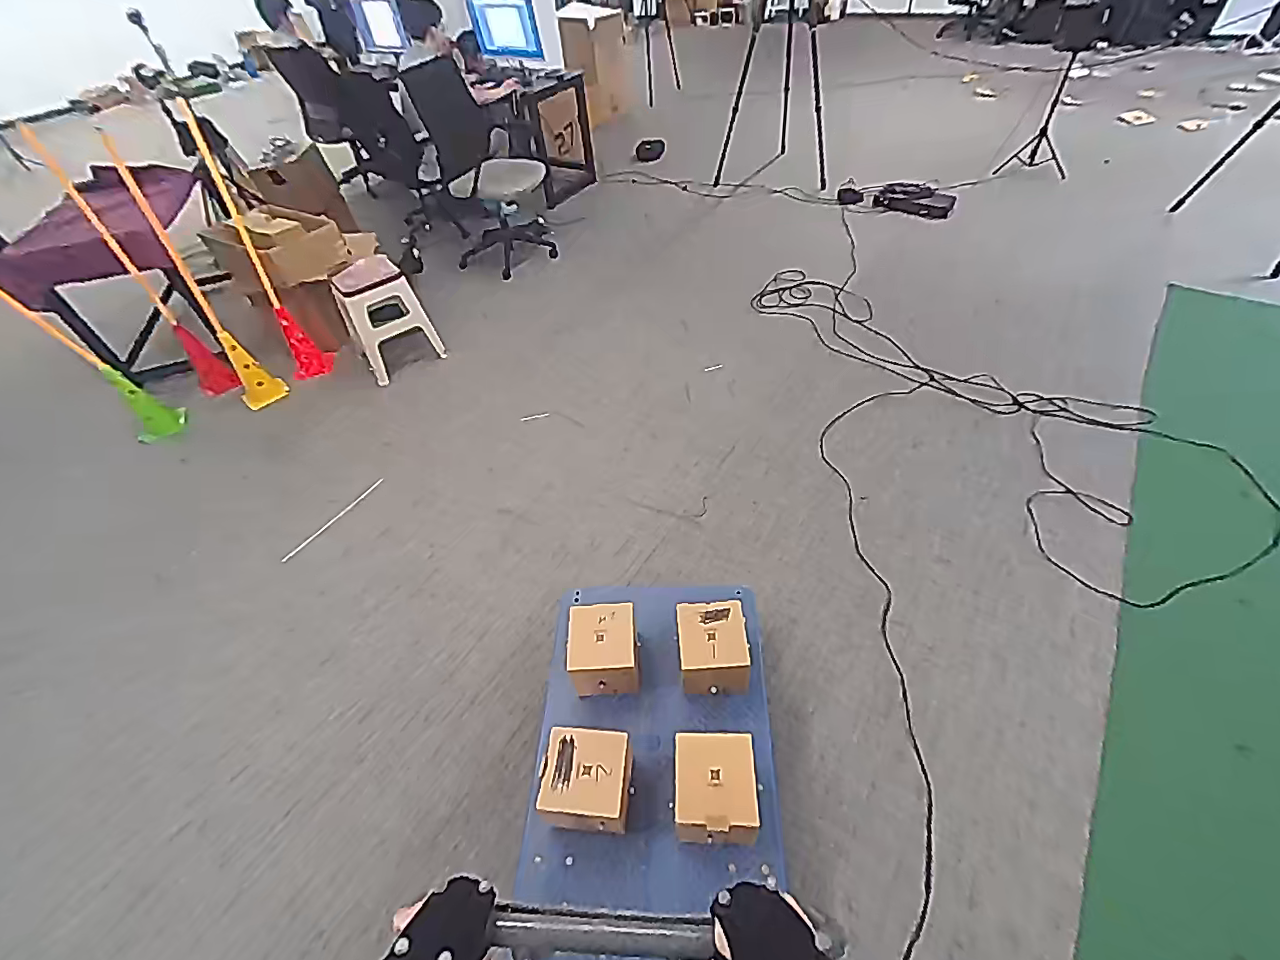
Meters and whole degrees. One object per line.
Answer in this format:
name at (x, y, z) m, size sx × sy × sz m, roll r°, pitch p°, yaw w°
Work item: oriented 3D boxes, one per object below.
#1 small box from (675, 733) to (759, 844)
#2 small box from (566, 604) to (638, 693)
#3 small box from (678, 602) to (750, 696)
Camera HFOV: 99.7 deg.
small box at (0.160, 0.670, 1.174) m, size 0.168 × 0.176 × 0.179 m, roll -1°, pitch 49°, yaw 4°
small box at (-0.092, 0.441, 1.402) m, size 0.168 × 0.176 × 0.179 m, roll -3°, pitch 48°, yaw 2°
small box at (0.183, 0.433, 1.384) m, size 0.168 × 0.176 × 0.179 m, roll -4°, pitch 49°, yaw 3°
